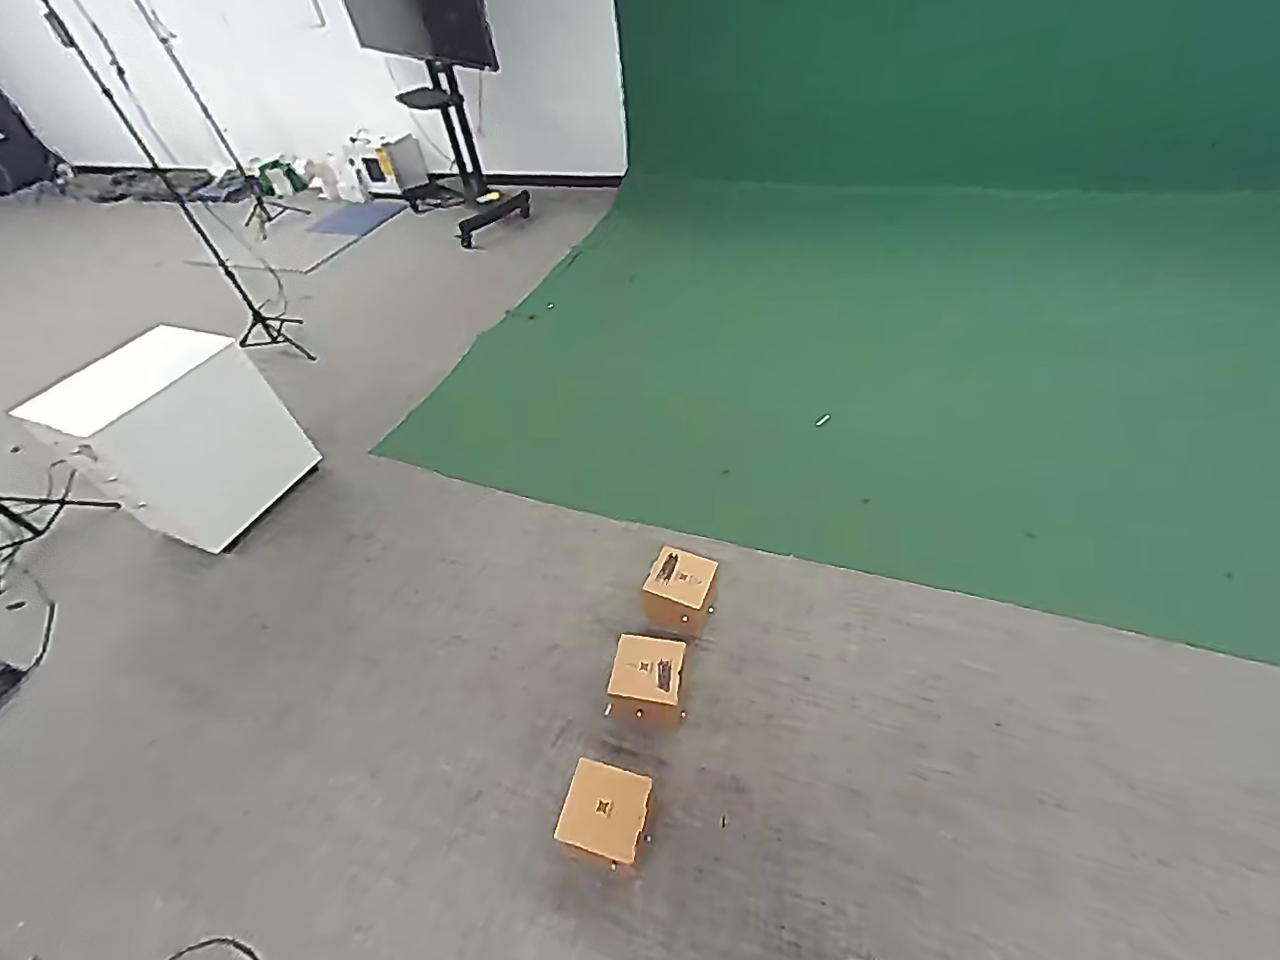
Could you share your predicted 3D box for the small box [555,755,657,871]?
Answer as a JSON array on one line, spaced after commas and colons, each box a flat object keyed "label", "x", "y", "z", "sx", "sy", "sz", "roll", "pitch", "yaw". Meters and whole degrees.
[{"label": "small box", "x": -0.067, "y": 0.750, "z": 1.213, "sx": 0.179, "sy": 0.176, "sz": 0.168, "roll": 9, "pitch": 49, "yaw": 14}]

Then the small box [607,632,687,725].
[{"label": "small box", "x": 0.026, "y": 0.523, "z": 1.416, "sx": 0.179, "sy": 0.176, "sz": 0.168, "roll": 5, "pitch": 47, "yaw": 12}]
